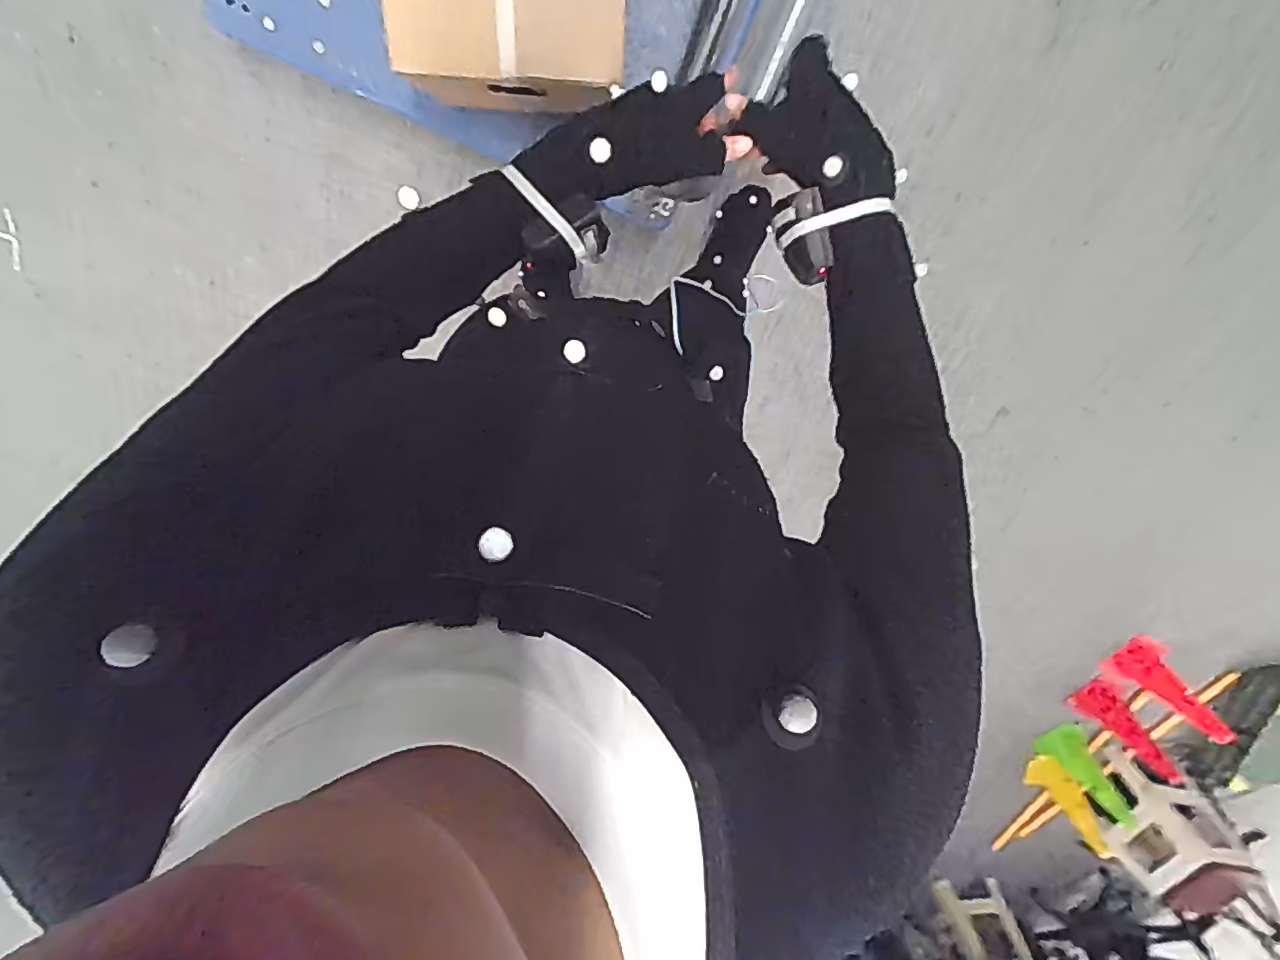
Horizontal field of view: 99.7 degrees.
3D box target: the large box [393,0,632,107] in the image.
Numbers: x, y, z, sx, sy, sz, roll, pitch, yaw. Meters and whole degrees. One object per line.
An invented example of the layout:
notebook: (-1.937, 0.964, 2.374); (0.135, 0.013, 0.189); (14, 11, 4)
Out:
large box: (-0.172, -0.803, 0.774); (0.320, 0.320, 0.408); (1, 119, -5)
